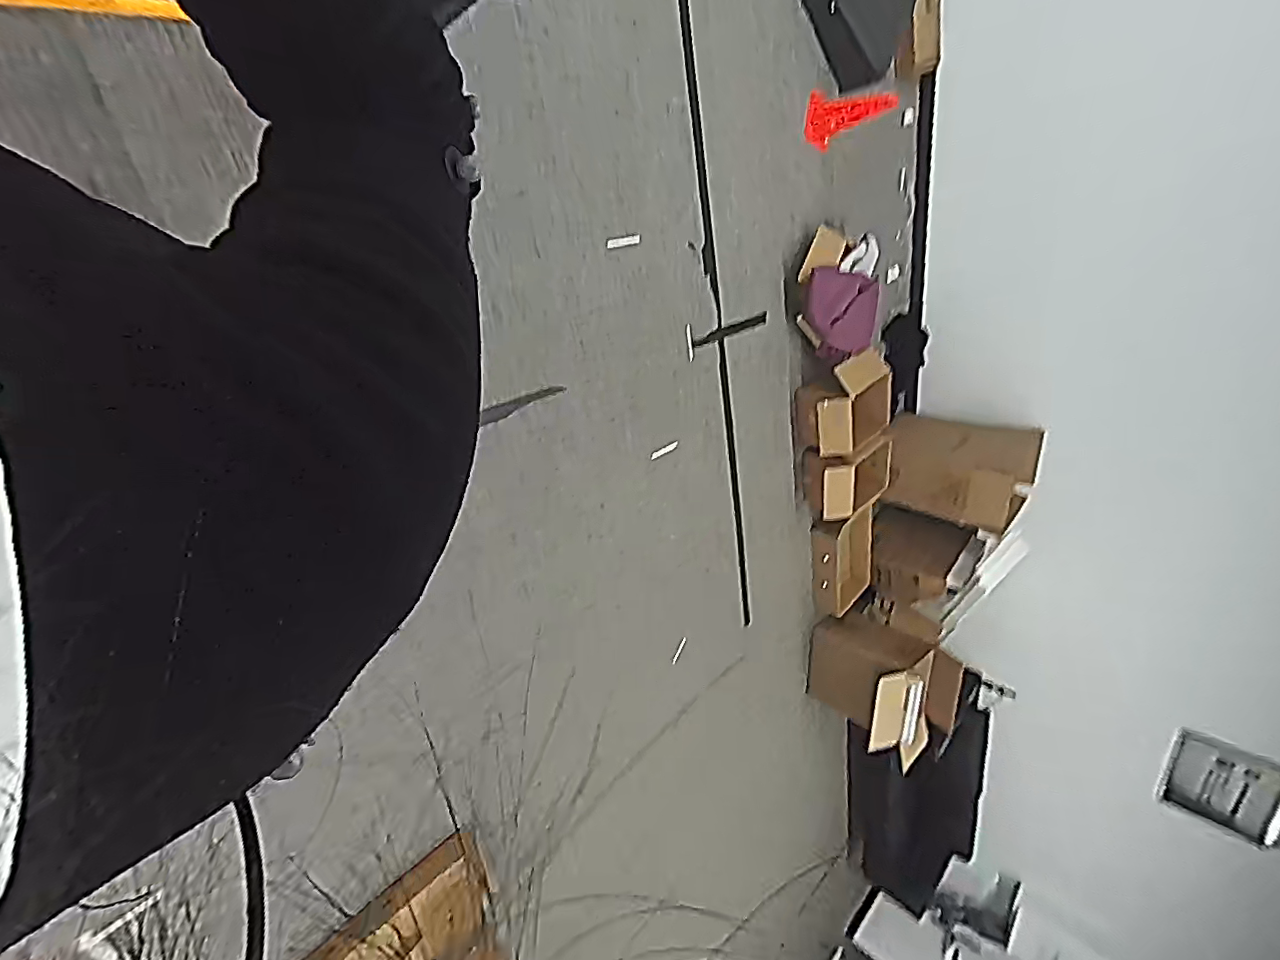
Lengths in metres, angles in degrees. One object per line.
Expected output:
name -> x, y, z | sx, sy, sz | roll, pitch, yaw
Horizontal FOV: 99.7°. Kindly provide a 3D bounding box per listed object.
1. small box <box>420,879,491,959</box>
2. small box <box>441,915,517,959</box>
small box -> -0.594, 1.466, 1.772 | 0.168, 0.176, 0.179 | -28, 120, -35
small box -> -0.479, 1.500, 1.660 | 0.168, 0.176, 0.179 | -35, 124, -32
